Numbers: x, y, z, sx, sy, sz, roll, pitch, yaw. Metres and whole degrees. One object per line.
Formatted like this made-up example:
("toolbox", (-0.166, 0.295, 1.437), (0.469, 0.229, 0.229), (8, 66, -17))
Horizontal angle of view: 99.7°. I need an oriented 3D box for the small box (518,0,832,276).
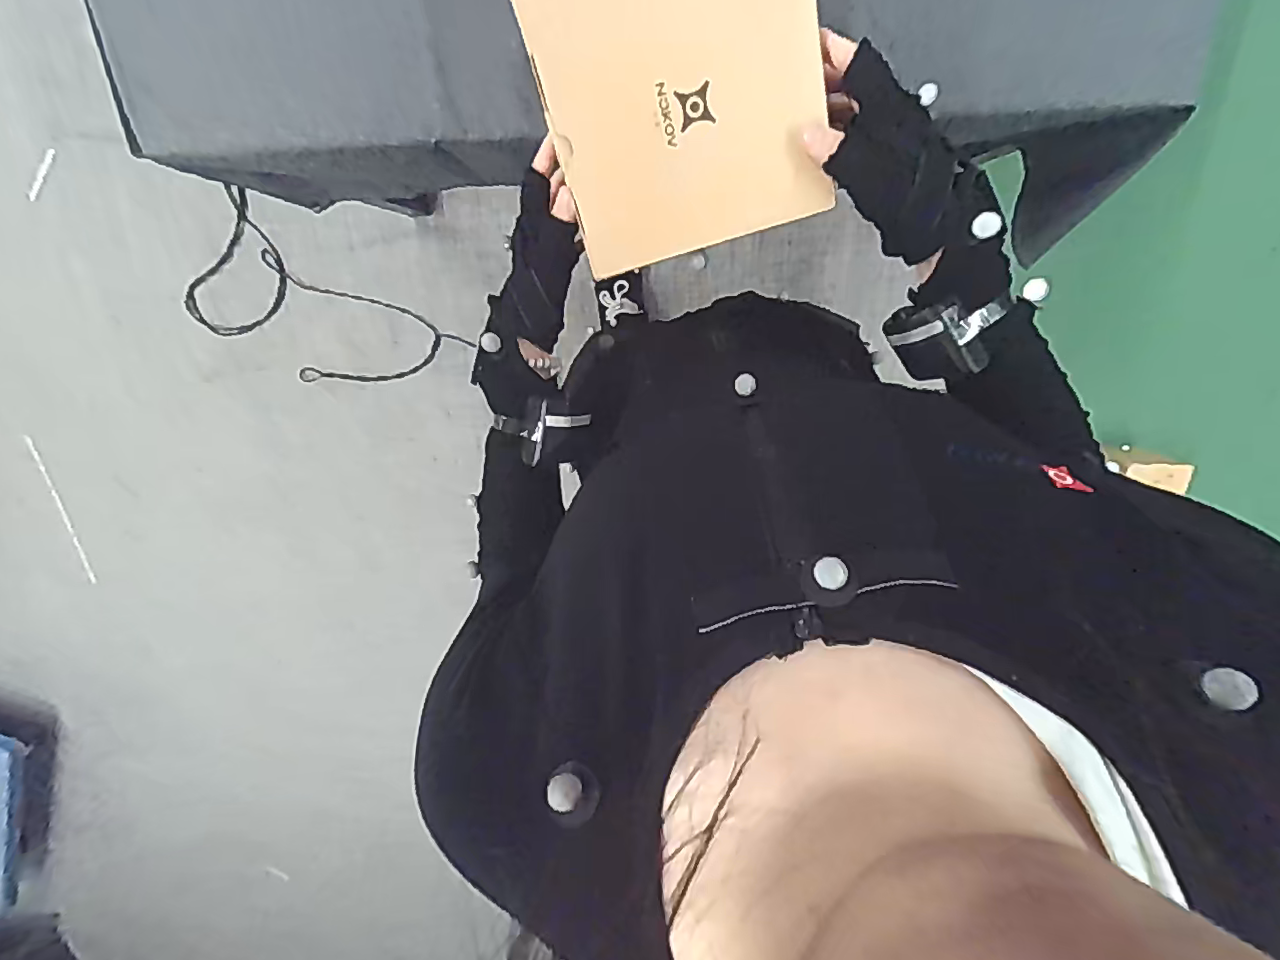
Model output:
("small box", (0.025, -0.271, 0.418), (0.179, 0.176, 0.168), (-15, 115, 4))
